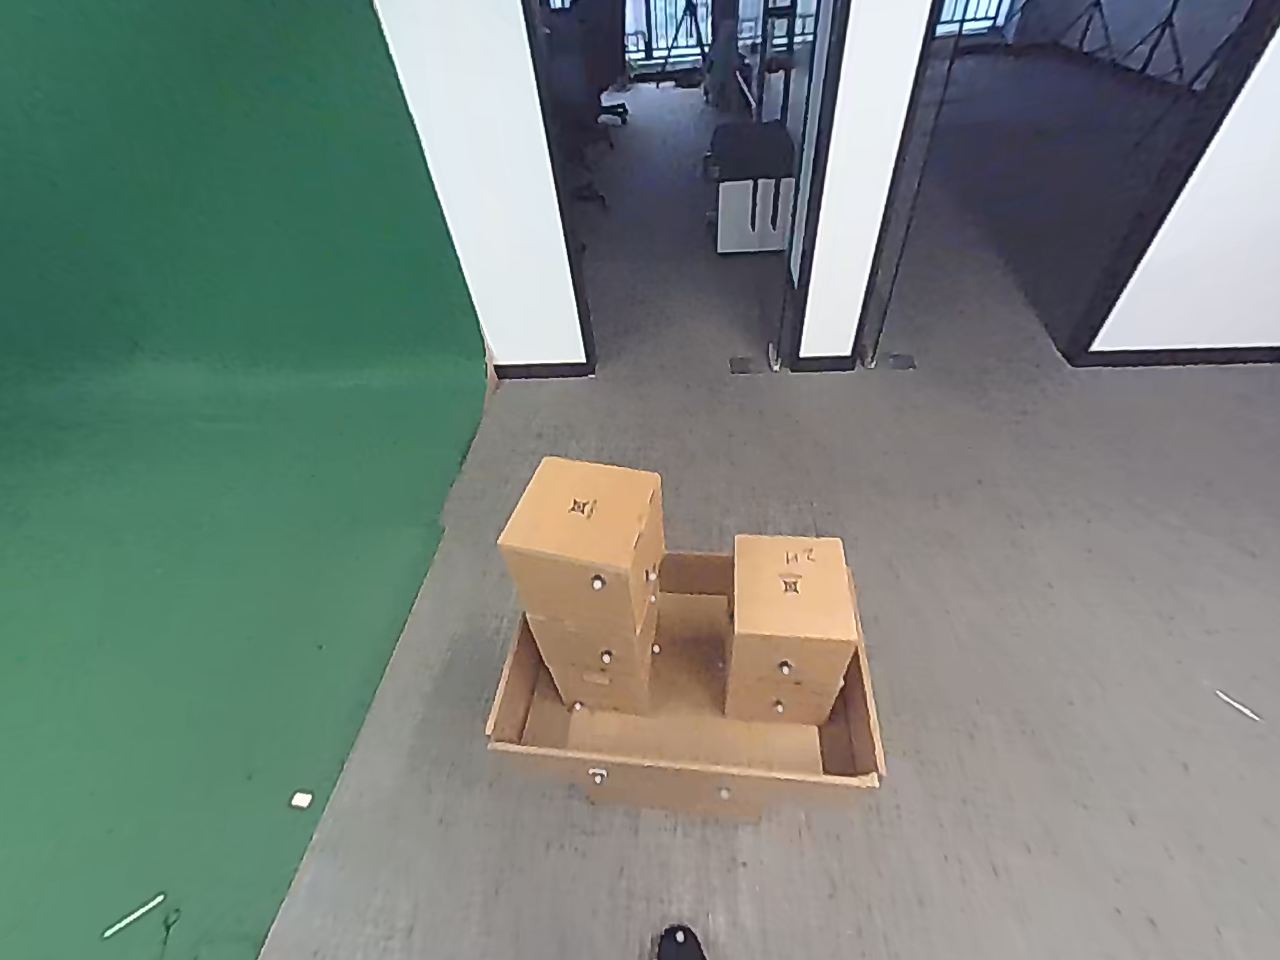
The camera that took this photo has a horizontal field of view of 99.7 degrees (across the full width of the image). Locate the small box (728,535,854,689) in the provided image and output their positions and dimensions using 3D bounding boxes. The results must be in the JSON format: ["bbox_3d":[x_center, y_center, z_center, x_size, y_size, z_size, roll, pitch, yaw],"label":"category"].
[{"bbox_3d":[0.226,0.208,0.846,0.168,0.176,0.179,2,46,9],"label":"small box"}]

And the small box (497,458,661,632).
[{"bbox_3d":[-0.073,0.094,0.770,0.179,0.176,0.168,10,47,12],"label":"small box"}]

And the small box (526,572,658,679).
[{"bbox_3d":[-0.066,0.203,0.890,0.168,0.176,0.179,7,46,11],"label":"small box"}]
